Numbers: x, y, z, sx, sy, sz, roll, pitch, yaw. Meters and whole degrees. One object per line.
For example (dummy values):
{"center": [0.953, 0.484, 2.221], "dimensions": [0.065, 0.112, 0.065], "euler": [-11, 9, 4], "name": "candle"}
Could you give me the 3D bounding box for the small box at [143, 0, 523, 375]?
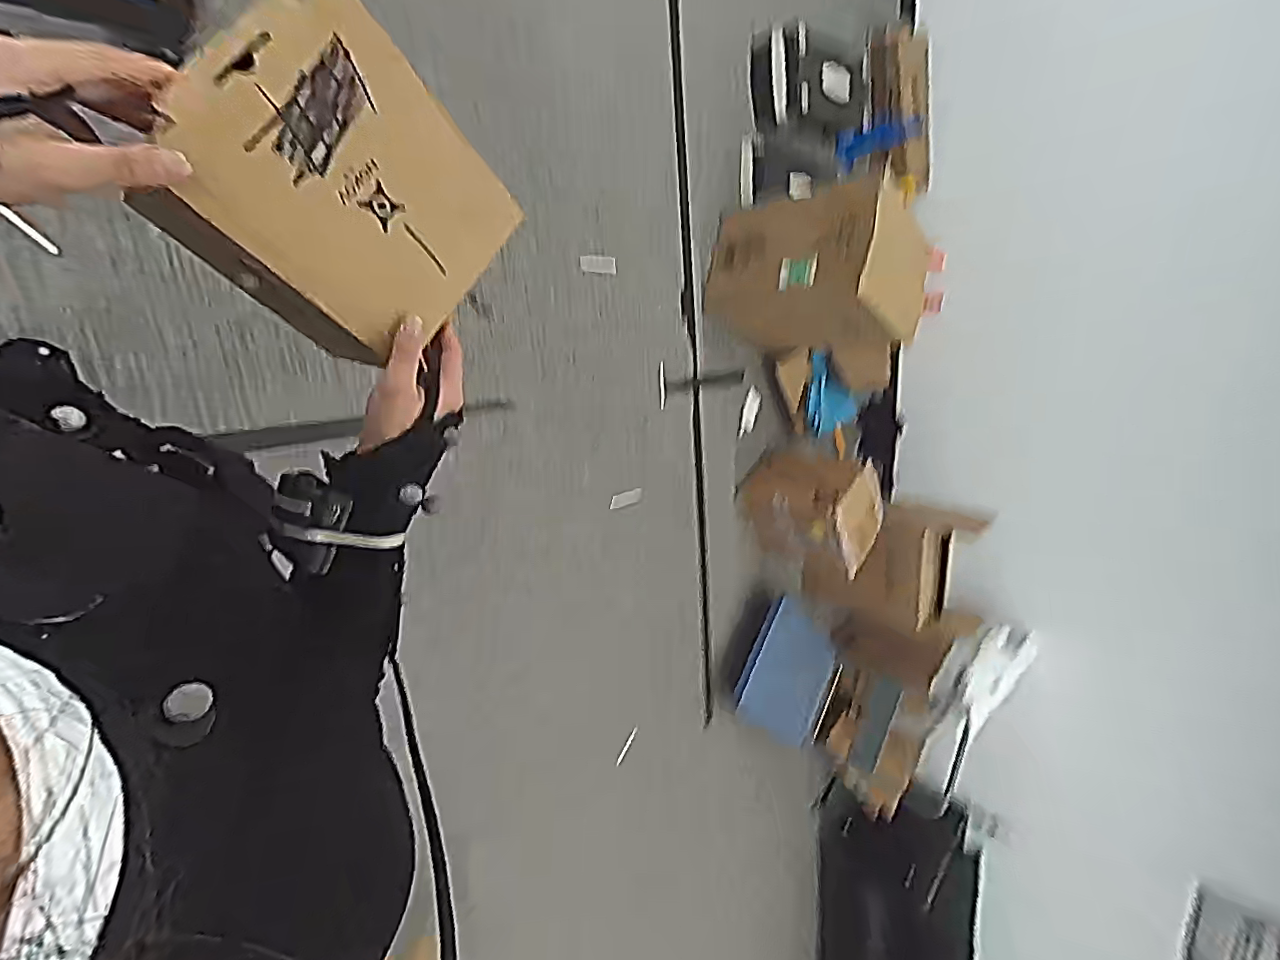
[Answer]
{"center": [-0.236, -0.204, 0.423], "dimensions": [0.168, 0.176, 0.179], "euler": [-58, 136, -14], "name": "small box"}
